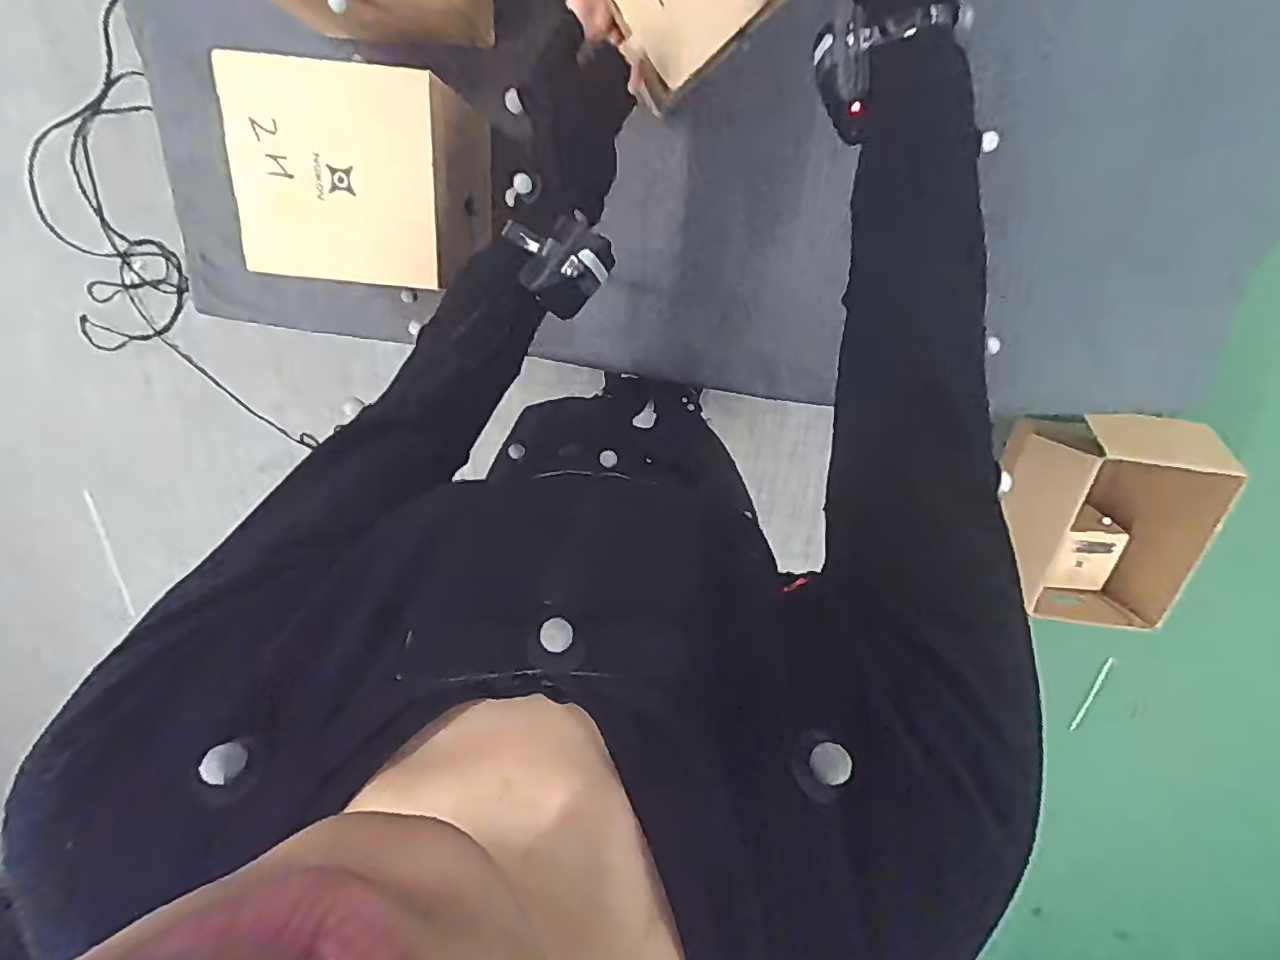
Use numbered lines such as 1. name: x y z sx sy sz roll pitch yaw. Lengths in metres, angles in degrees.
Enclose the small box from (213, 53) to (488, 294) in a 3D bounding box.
1. small box: -0.253 -0.280 0.527 0.179 0.176 0.168 6 112 0
